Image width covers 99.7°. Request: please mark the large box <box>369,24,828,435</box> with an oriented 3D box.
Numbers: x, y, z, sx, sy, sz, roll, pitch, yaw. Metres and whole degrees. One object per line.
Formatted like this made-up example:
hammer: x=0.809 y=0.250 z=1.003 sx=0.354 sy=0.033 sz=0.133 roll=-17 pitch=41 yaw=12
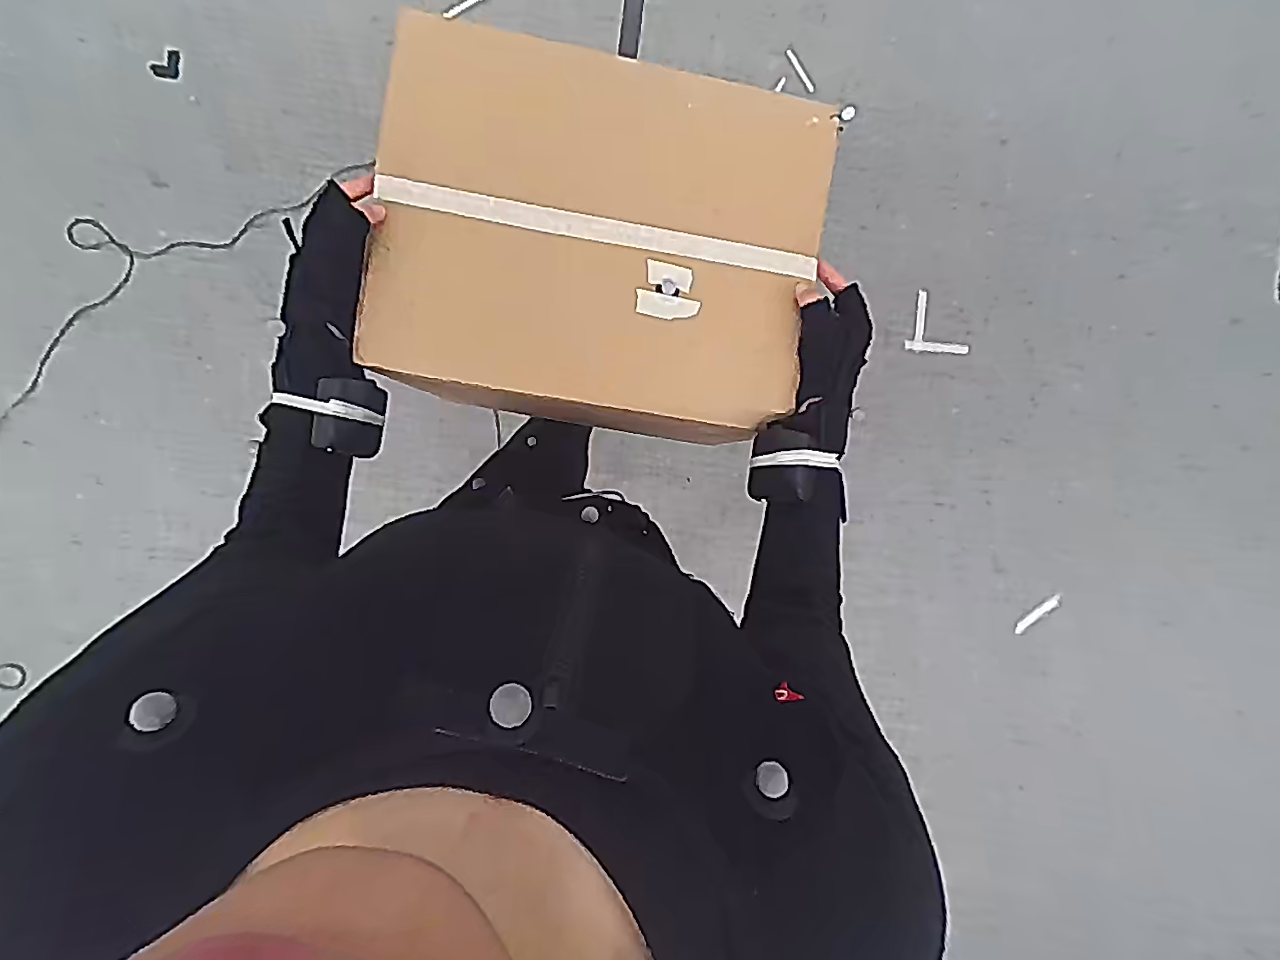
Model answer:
large box: x=-0.049 y=-0.238 z=0.653 sx=0.408 sy=0.320 sz=0.320 roll=9 pitch=93 yaw=-6
